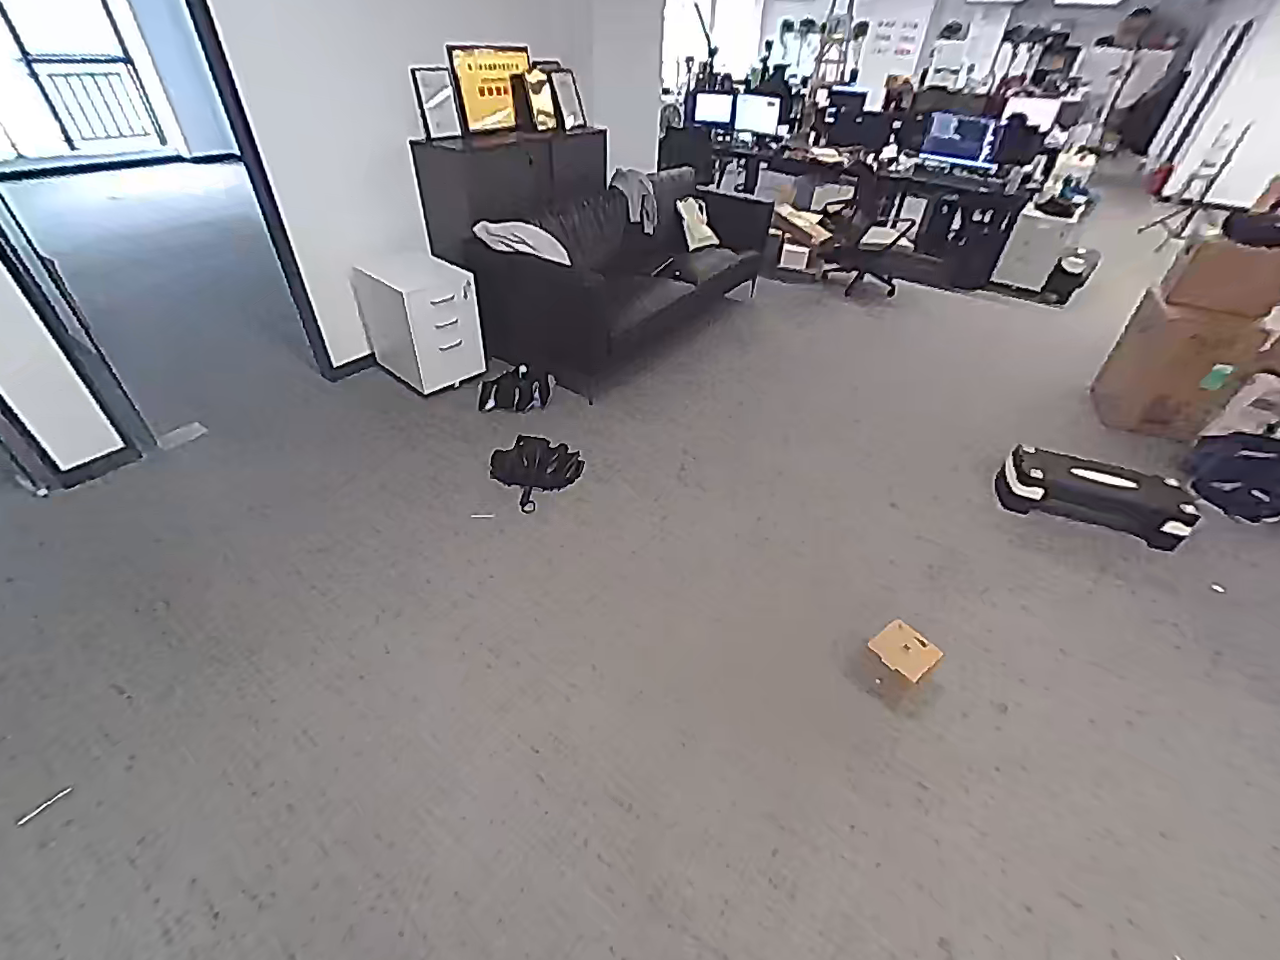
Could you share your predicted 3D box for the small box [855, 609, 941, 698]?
[{"bbox_3d":[0.809,0.554,1.717,0.179,0.176,0.168,-25,46,-29],"label":"small box"}]
